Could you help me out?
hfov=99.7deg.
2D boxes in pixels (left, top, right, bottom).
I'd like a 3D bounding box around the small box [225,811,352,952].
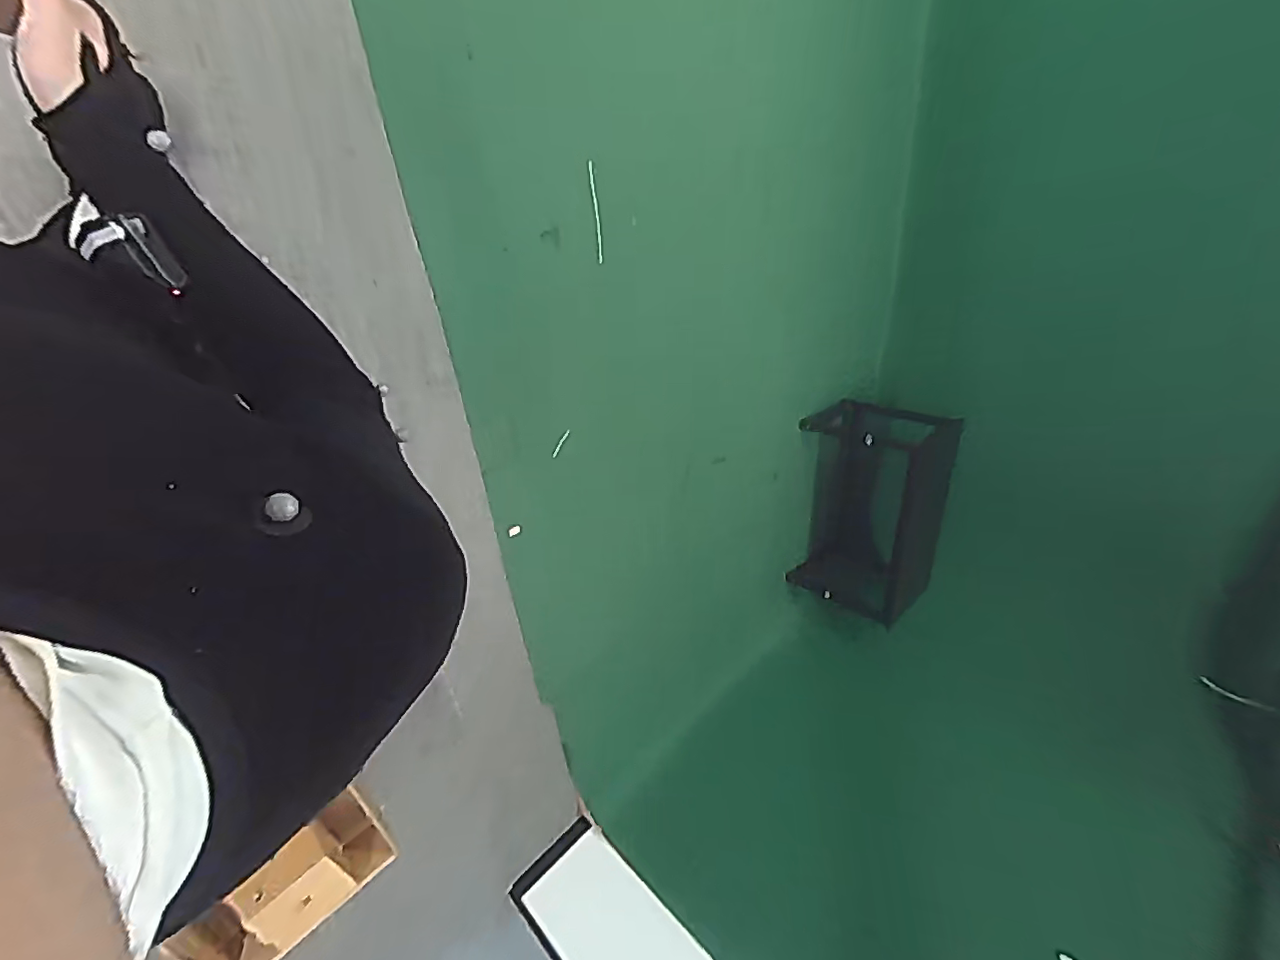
[{"bbox_3d":[-0.816,0.921,1.255,0.179,0.176,0.168,-35,131,-31],"label":"small box"}]
